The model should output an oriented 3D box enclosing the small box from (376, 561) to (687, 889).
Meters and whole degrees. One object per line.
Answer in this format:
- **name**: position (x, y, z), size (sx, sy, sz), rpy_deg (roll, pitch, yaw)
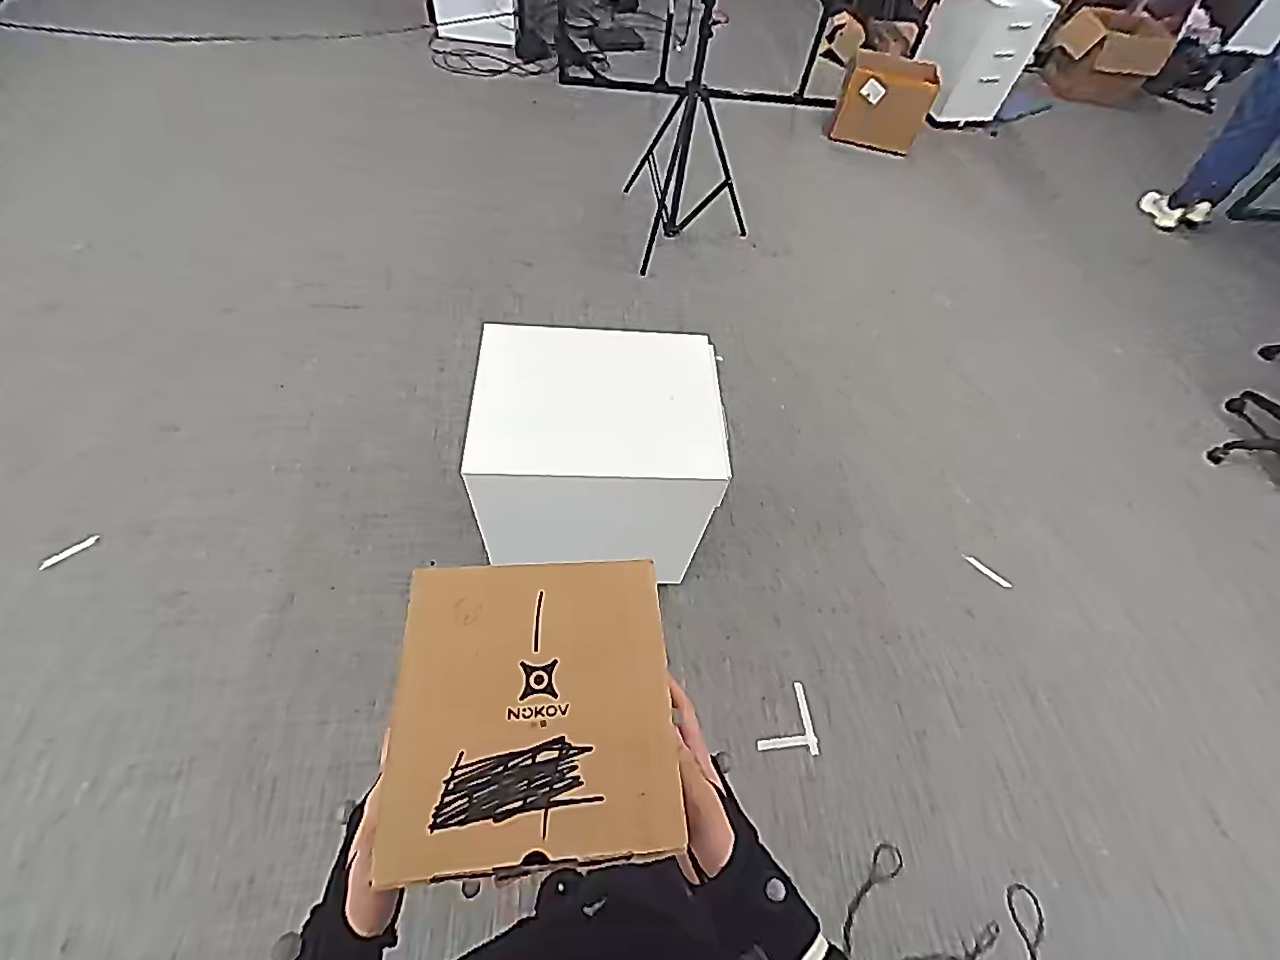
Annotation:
- **small box**: position (-0.070, 0.176, 0.394), size (0.168, 0.176, 0.179), rpy_deg (-1, 55, -9)
